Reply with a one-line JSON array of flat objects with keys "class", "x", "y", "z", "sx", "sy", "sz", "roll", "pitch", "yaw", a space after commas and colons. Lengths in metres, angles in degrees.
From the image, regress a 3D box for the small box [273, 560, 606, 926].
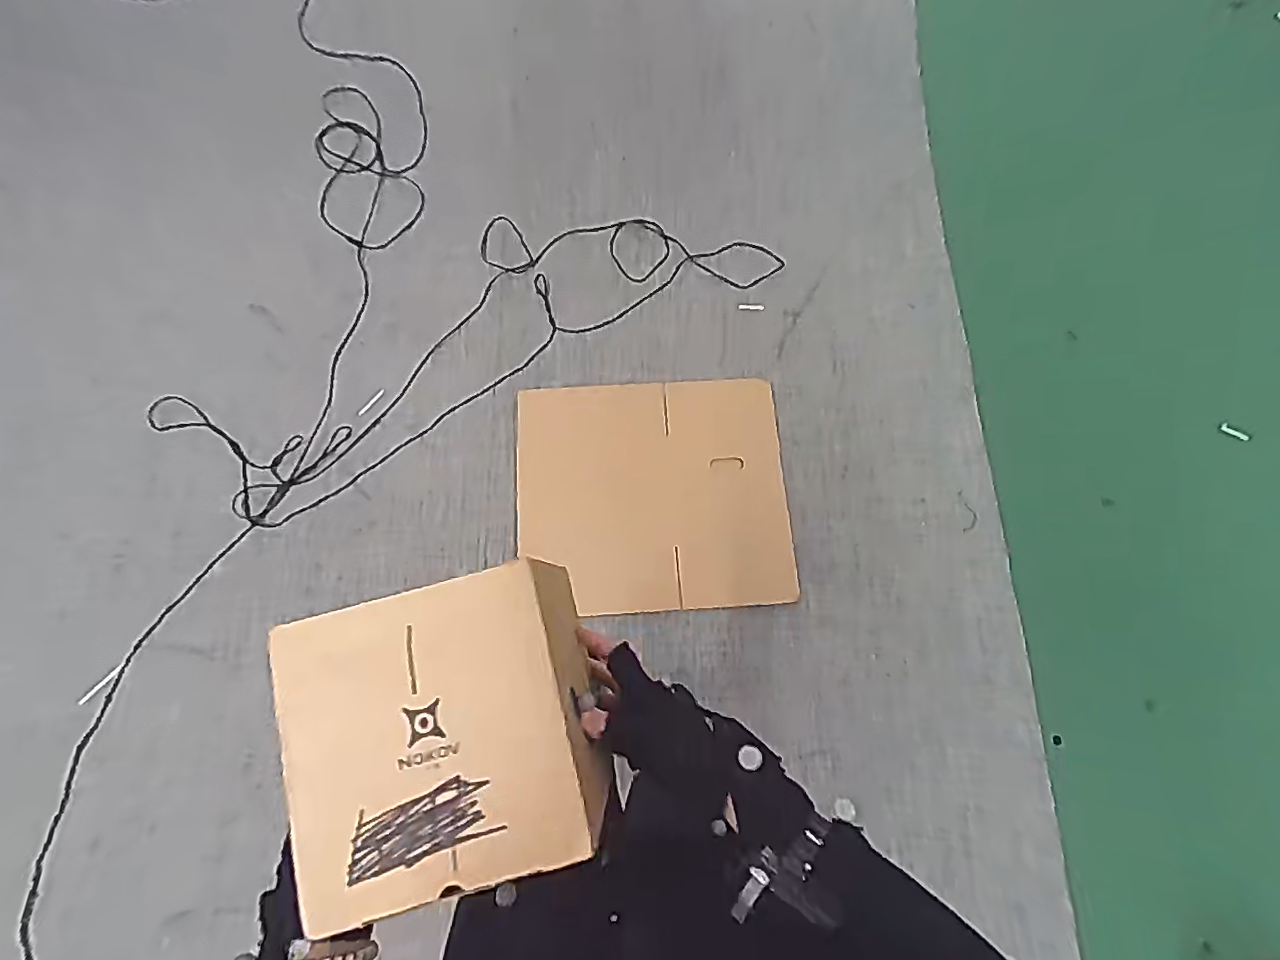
[{"class": "small box", "x": -0.127, "y": 0.166, "z": 0.401, "sx": 0.168, "sy": 0.176, "sz": 0.179, "roll": -15, "pitch": 78, "yaw": -3}]
